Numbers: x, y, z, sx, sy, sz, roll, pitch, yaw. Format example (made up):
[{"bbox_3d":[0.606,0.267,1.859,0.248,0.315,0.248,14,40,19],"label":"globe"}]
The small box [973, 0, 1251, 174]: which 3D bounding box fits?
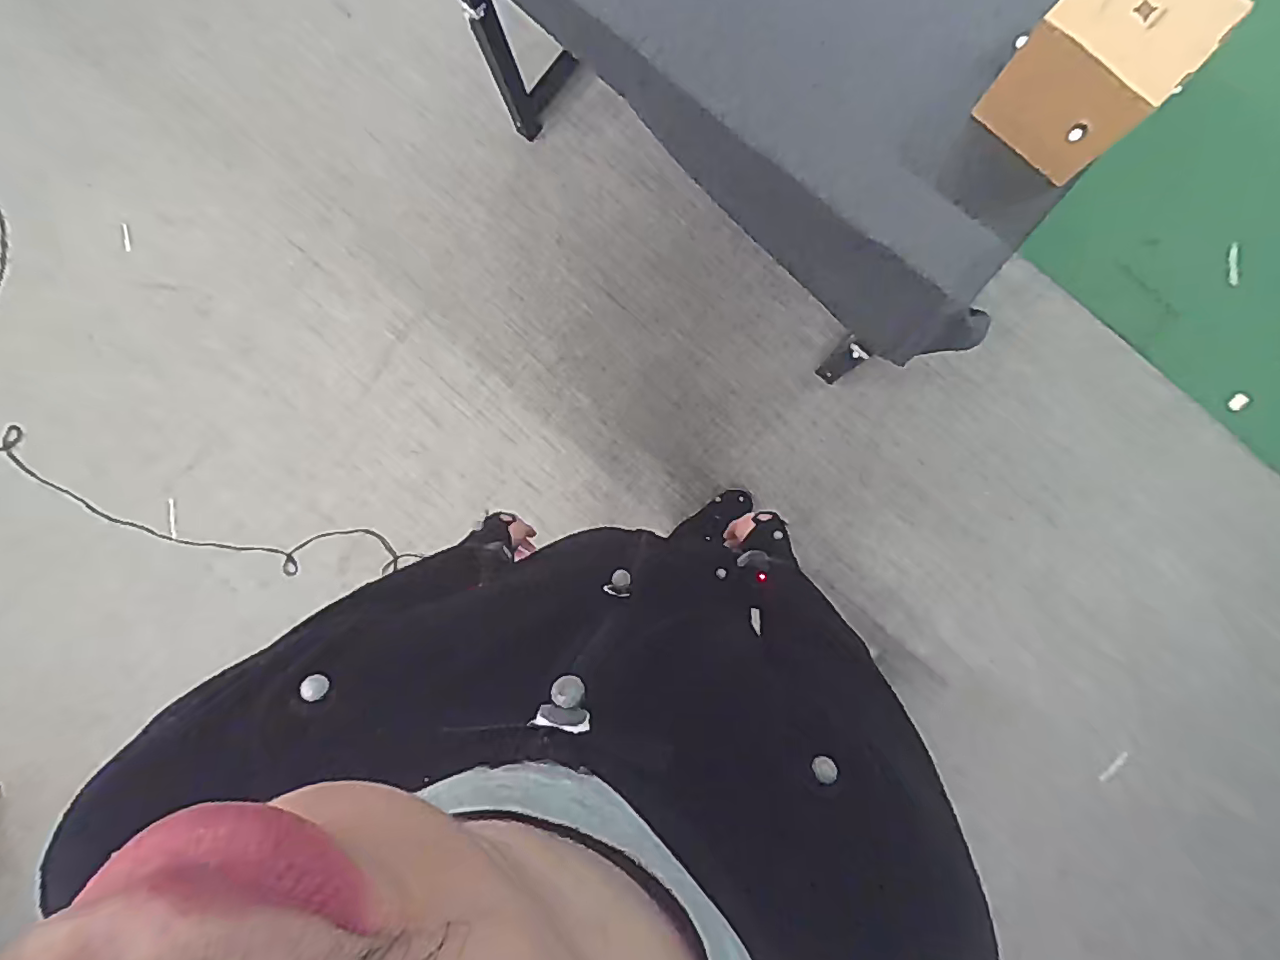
[{"bbox_3d":[0.598,-0.546,0.713,0.179,0.176,0.168,43,91,4],"label":"small box"}]
